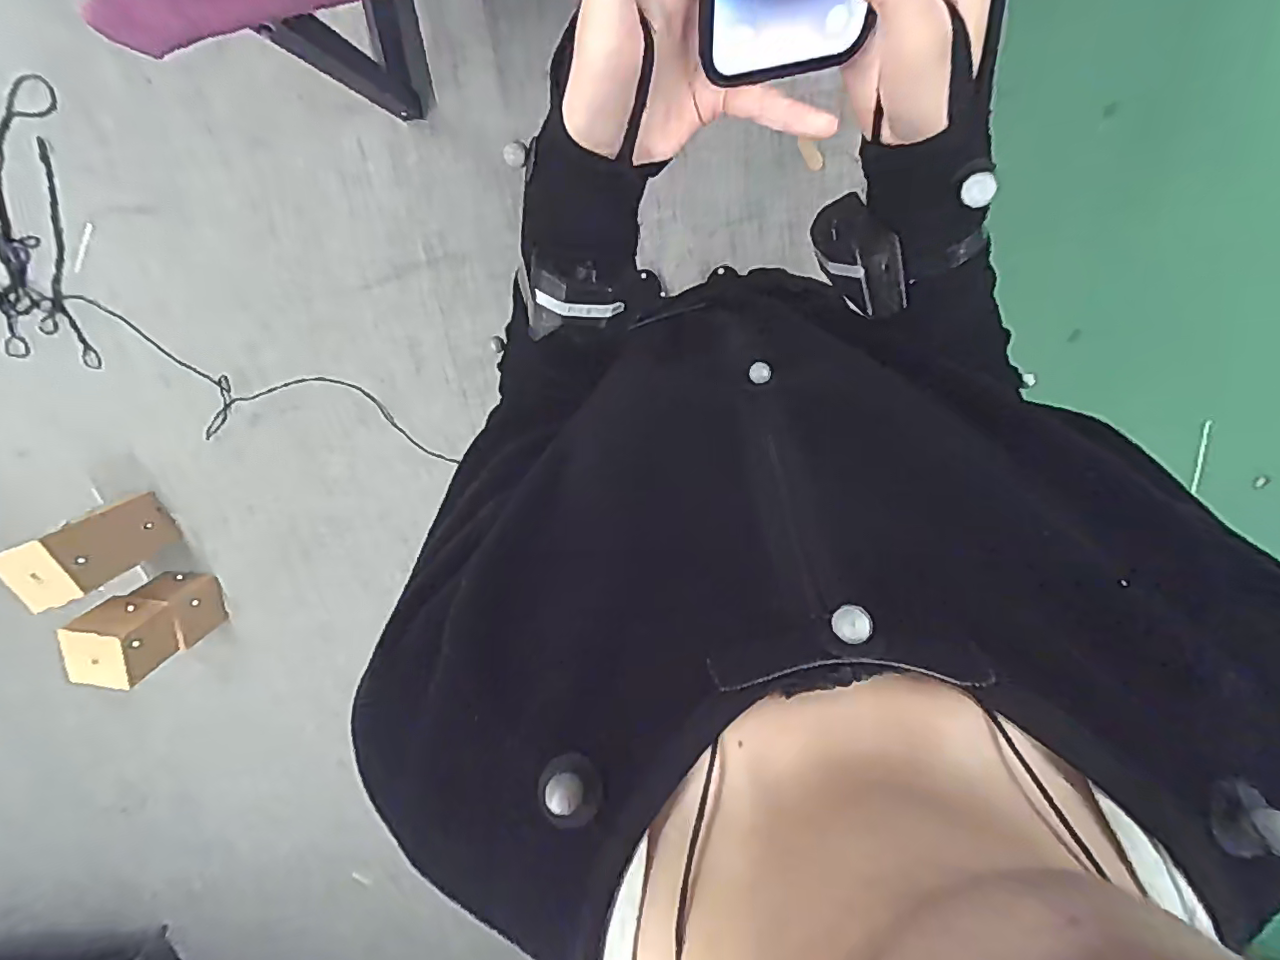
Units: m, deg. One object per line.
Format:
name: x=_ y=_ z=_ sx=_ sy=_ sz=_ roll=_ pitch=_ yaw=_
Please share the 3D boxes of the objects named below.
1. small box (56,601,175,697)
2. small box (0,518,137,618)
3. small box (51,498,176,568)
small box: x=-1.451 y=0.468 z=1.511 sx=0.168 sy=0.176 sz=0.179 roll=9 pitch=109 yaw=-1
small box: x=-1.503 y=0.227 z=1.423 sx=0.168 sy=0.176 sz=0.179 roll=-18 pitch=109 yaw=7
small box: x=-1.512 y=0.167 z=1.574 sx=0.179 sy=0.176 sz=0.168 roll=-14 pitch=109 yaw=7
